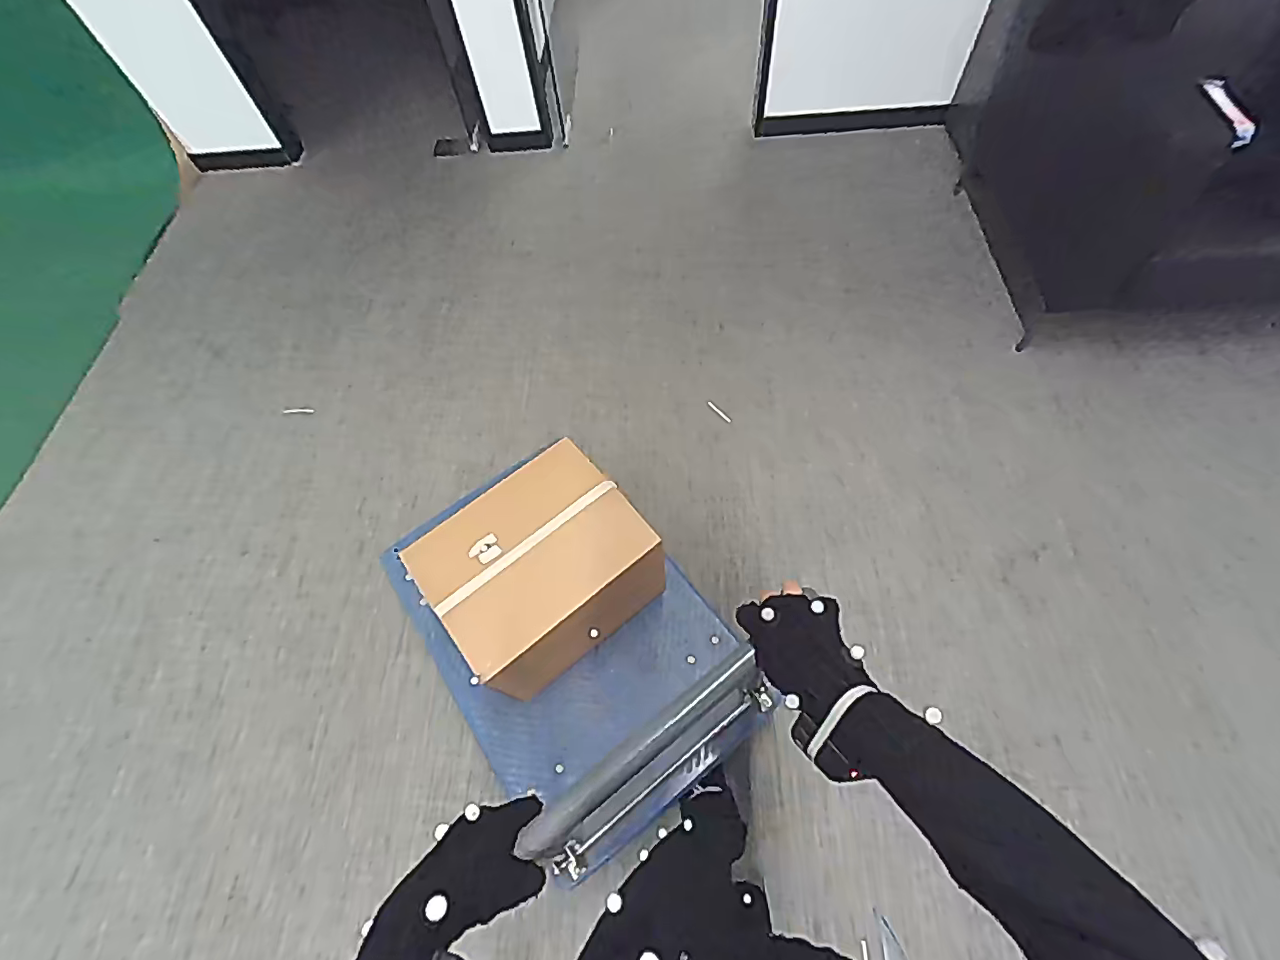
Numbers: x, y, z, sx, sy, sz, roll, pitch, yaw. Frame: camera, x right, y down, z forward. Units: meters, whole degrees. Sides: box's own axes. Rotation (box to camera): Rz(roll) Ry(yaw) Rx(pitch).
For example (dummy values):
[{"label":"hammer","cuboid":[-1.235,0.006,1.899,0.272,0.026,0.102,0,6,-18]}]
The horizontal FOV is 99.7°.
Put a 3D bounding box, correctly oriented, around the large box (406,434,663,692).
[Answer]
[{"label":"large box","cuboid":[-0.196,0.186,1.162,0.408,0.320,0.320,-38,66,-15]}]
